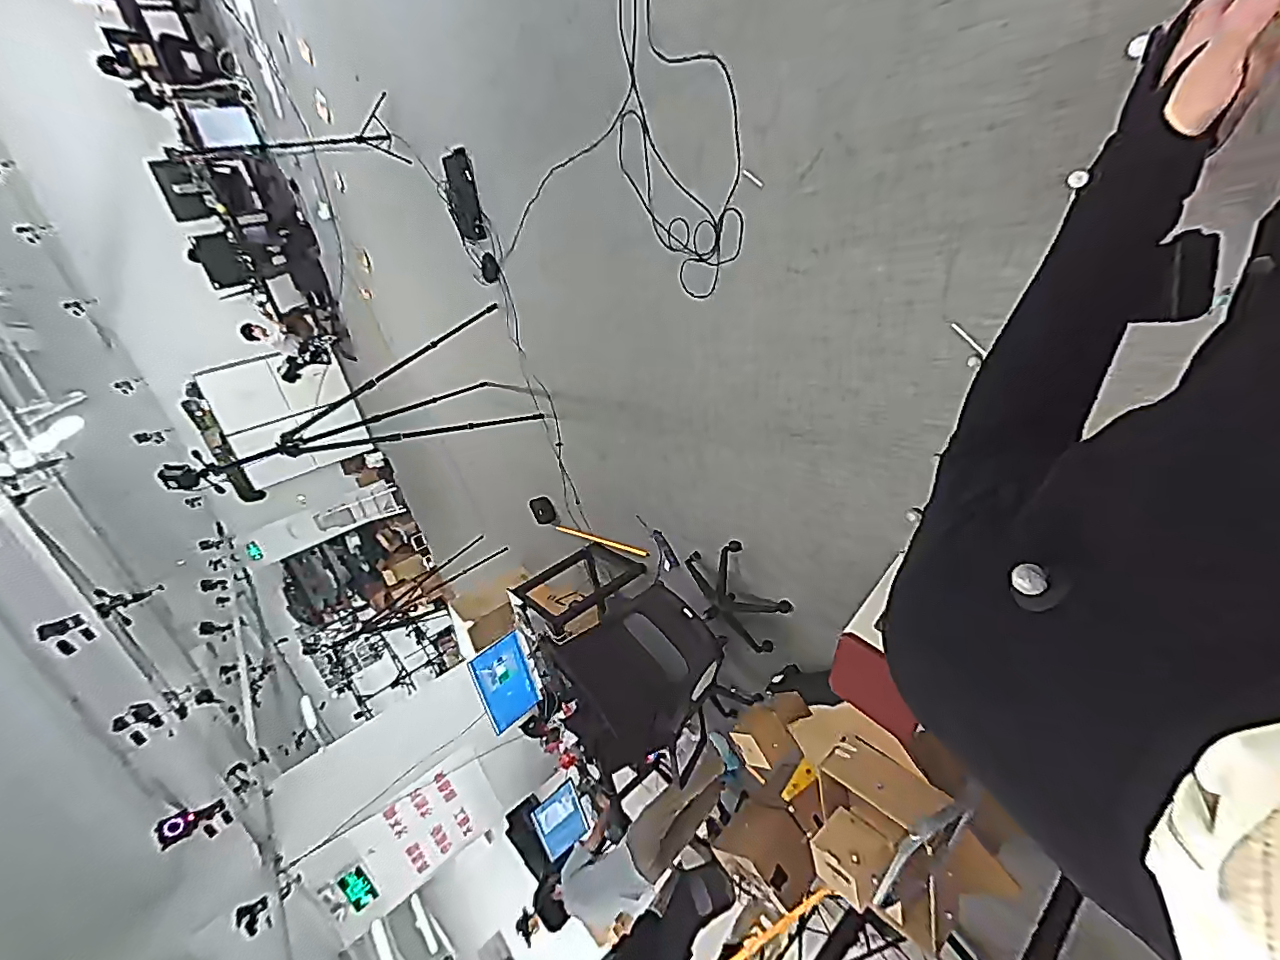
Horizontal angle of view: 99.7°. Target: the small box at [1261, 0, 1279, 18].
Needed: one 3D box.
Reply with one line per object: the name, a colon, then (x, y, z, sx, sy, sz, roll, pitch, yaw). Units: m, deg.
small box: (0.441, -0.362, 0.266, 0.168, 0.176, 0.179, 5, 115, 53)
